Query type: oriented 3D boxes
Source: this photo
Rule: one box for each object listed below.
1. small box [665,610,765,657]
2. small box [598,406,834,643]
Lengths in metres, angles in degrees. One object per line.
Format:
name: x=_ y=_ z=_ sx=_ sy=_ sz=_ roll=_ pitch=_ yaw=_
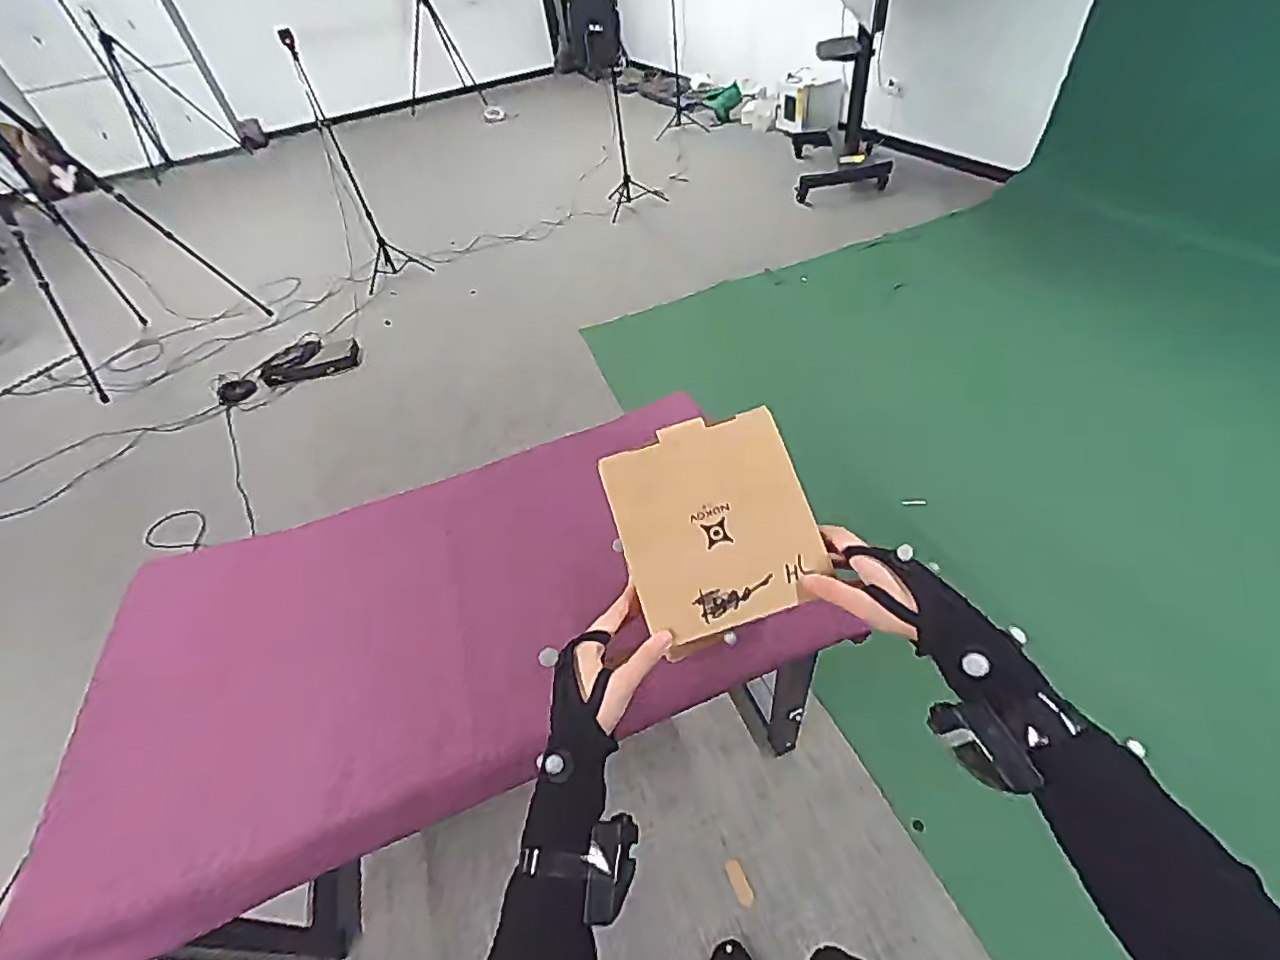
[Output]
small box: x=0.090 y=0.141 z=0.837 sx=0.179 sy=0.176 sz=0.168 roll=-24 pitch=48 yaw=-9
small box: x=0.068 y=0.054 z=0.552 sx=0.168 sy=0.176 sz=0.179 roll=-19 pitch=76 yaw=1
